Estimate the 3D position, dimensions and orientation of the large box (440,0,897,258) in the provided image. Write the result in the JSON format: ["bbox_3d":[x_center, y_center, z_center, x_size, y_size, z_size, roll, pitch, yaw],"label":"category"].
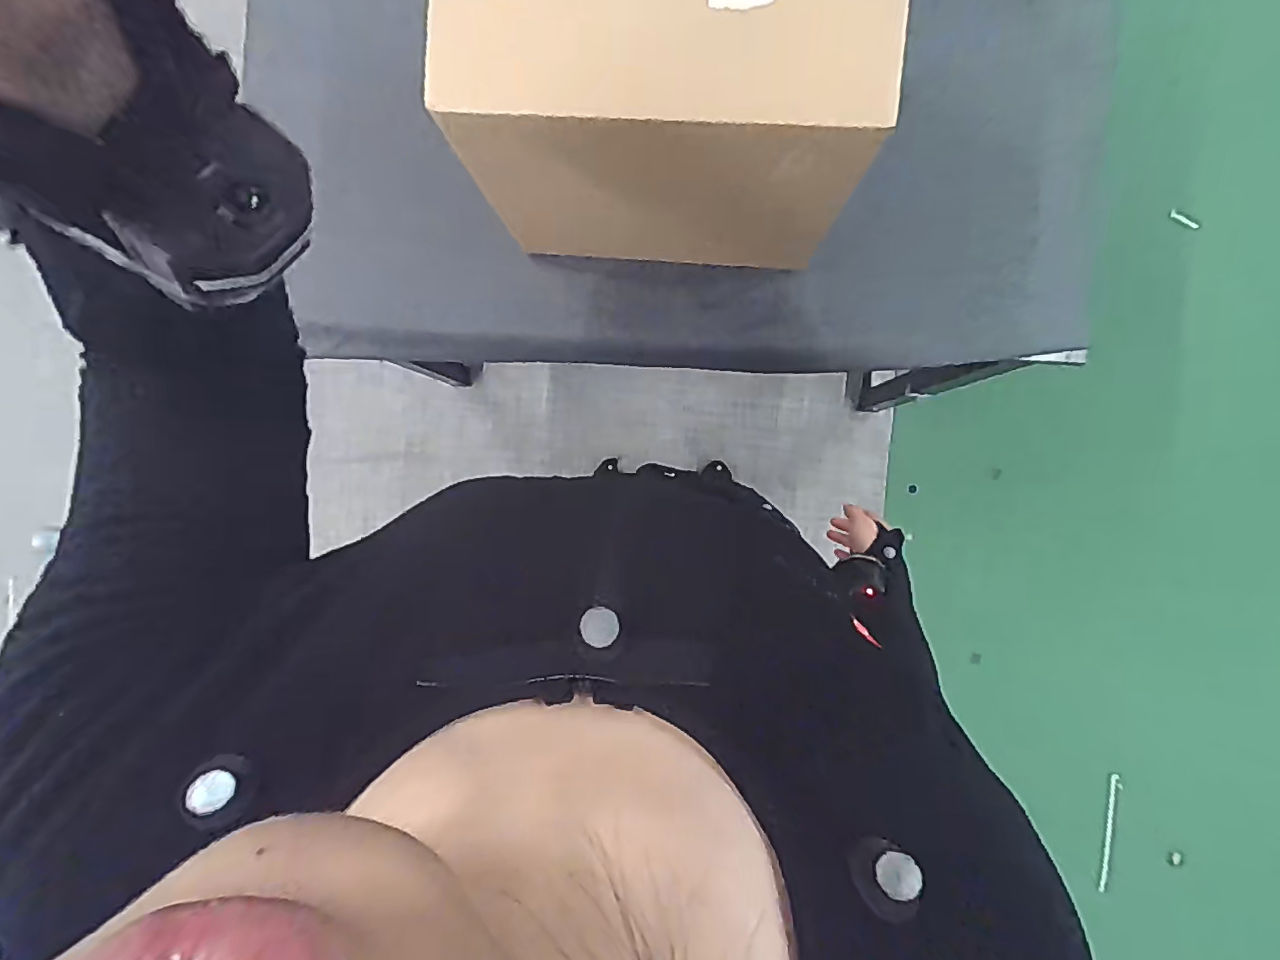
[{"bbox_3d":[0.032,-0.470,0.619,0.408,0.320,0.320,4,92,3],"label":"large box"}]
